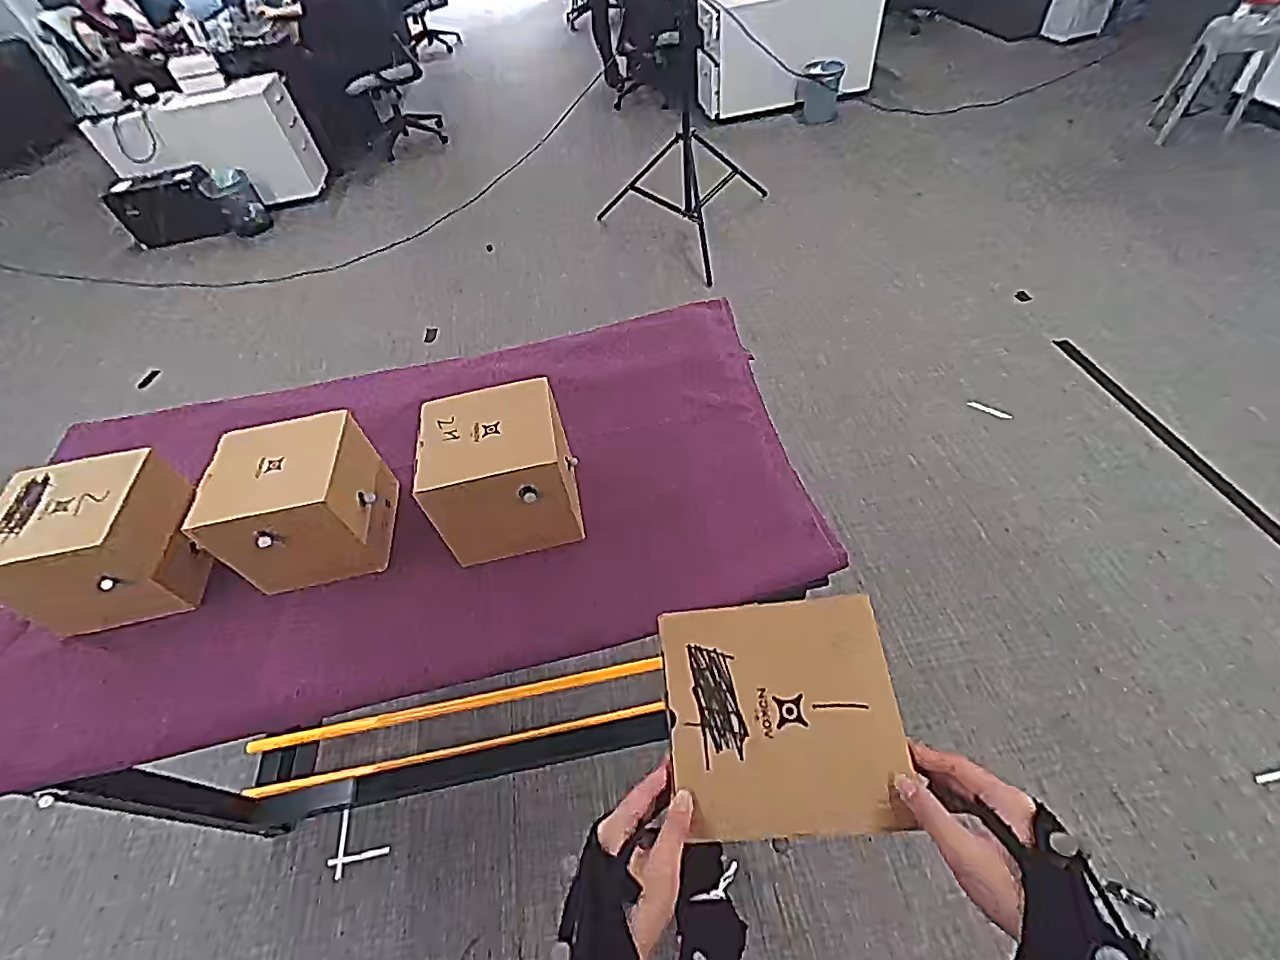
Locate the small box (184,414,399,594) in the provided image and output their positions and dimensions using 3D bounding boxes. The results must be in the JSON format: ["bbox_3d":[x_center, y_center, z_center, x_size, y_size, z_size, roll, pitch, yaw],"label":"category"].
[{"bbox_3d":[-0.462,0.038,0.754,0.179,0.176,0.168,-12,50,-1],"label":"small box"}]

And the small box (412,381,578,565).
[{"bbox_3d":[-0.187,-0.006,0.744,0.179,0.176,0.168,-13,49,-2],"label":"small box"}]

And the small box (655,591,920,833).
[{"bbox_3d":[0.116,0.209,0.483,0.179,0.176,0.168,-8,62,7],"label":"small box"}]
